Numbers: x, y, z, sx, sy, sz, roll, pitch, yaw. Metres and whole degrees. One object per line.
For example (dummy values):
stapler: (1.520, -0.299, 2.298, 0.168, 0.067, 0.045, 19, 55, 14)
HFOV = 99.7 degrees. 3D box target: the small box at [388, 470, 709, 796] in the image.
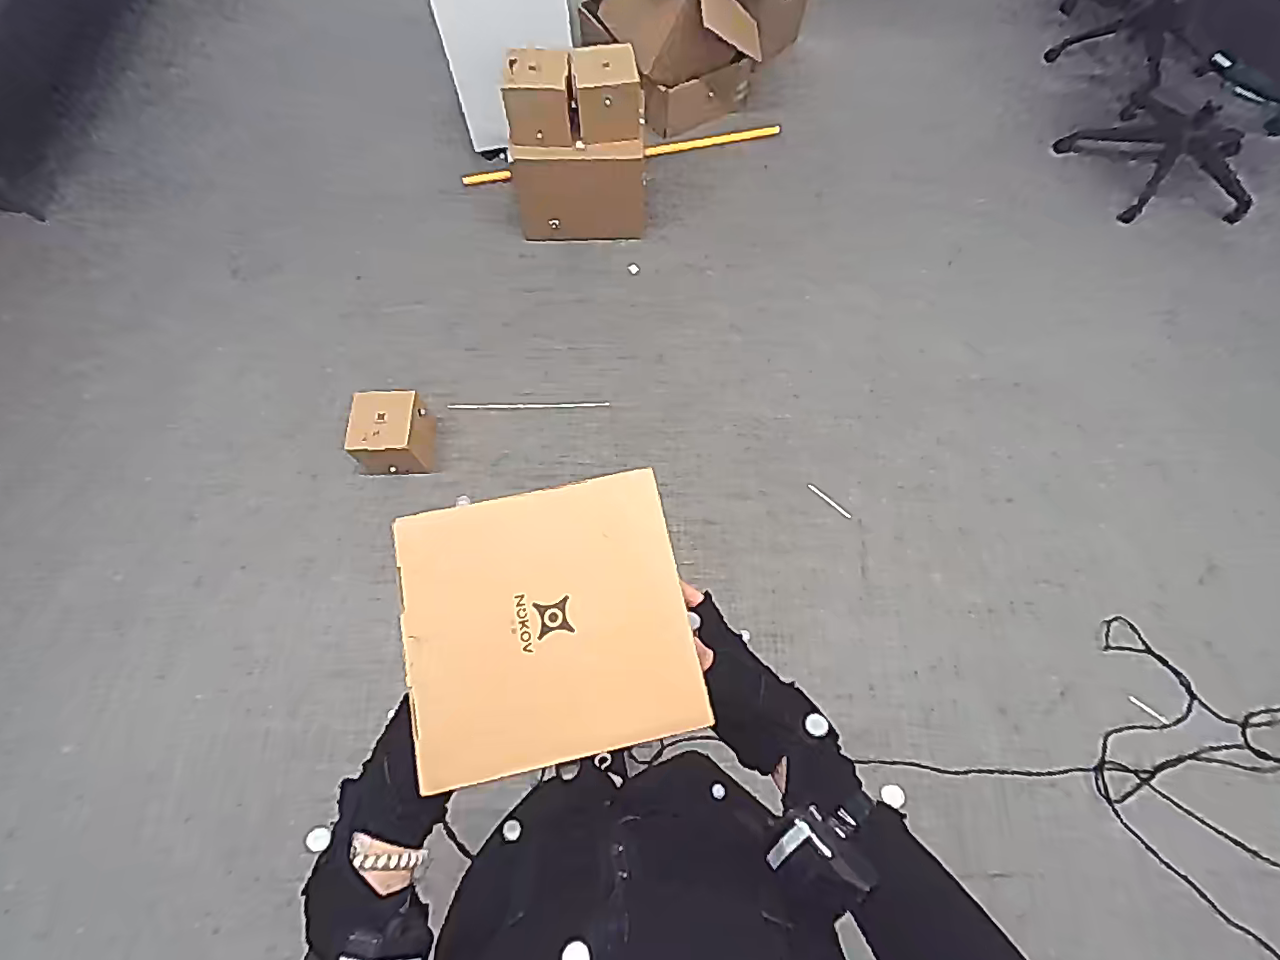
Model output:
small box: (-0.061, 0.105, 0.407, 0.179, 0.176, 0.168, -12, 75, -3)

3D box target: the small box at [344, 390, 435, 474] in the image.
small box: (-0.681, -0.130, 1.493, 0.168, 0.176, 0.179, -2, 68, 0)
